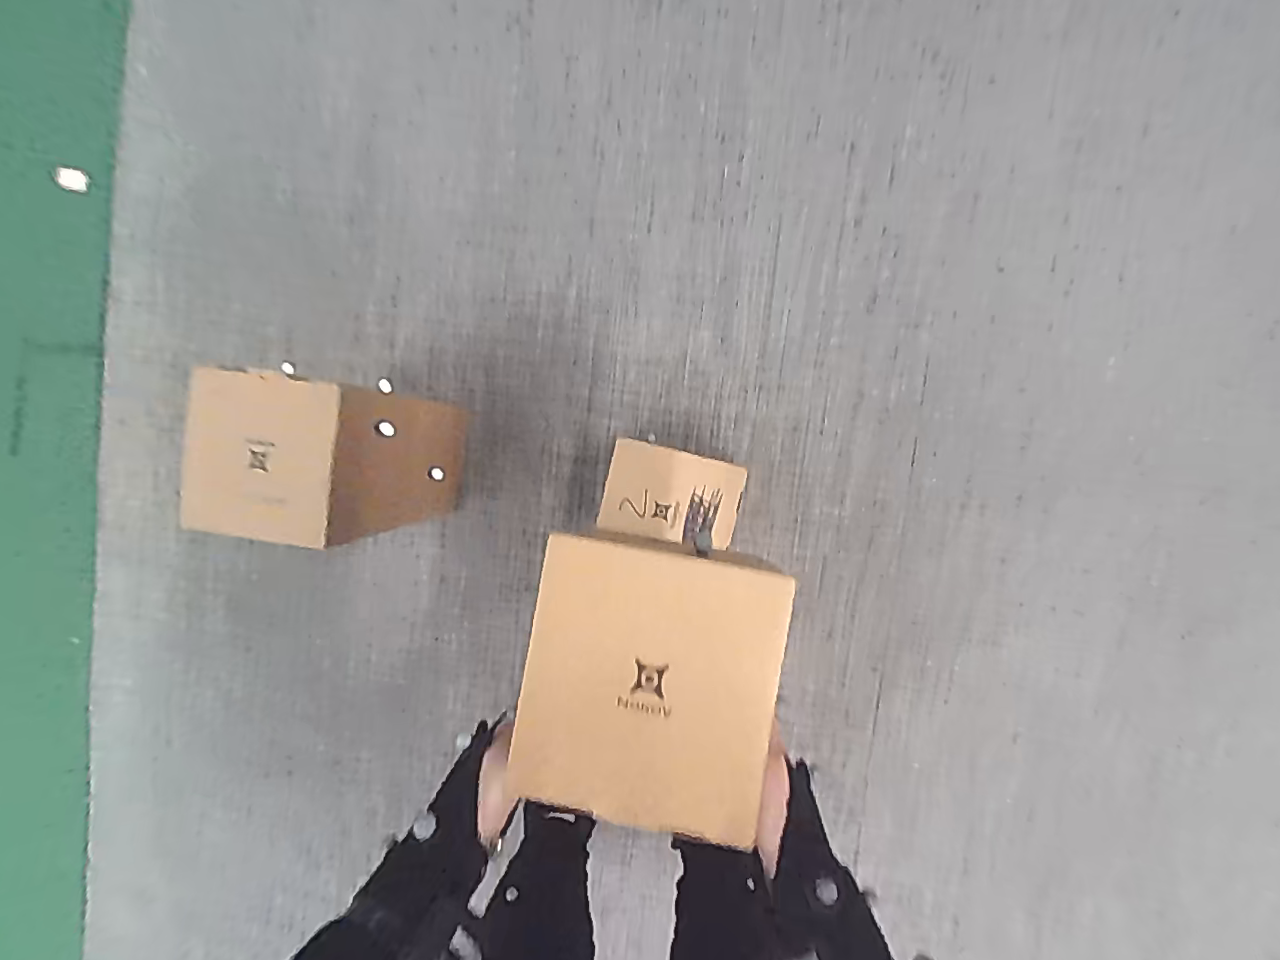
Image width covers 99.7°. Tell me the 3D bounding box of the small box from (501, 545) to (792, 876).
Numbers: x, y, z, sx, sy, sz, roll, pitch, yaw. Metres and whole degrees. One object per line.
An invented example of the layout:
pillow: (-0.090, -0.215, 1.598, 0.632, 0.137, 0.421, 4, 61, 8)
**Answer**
small box: (0.009, 0.153, 0.426, 0.168, 0.176, 0.179, 9, 89, 5)

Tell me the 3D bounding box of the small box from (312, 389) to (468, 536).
small box: (-0.374, -0.030, 0.809, 0.168, 0.176, 0.179, 11, 95, 3)

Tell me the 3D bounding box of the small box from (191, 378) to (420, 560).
small box: (-0.383, -0.017, 0.647, 0.168, 0.176, 0.179, 8, 95, 5)
